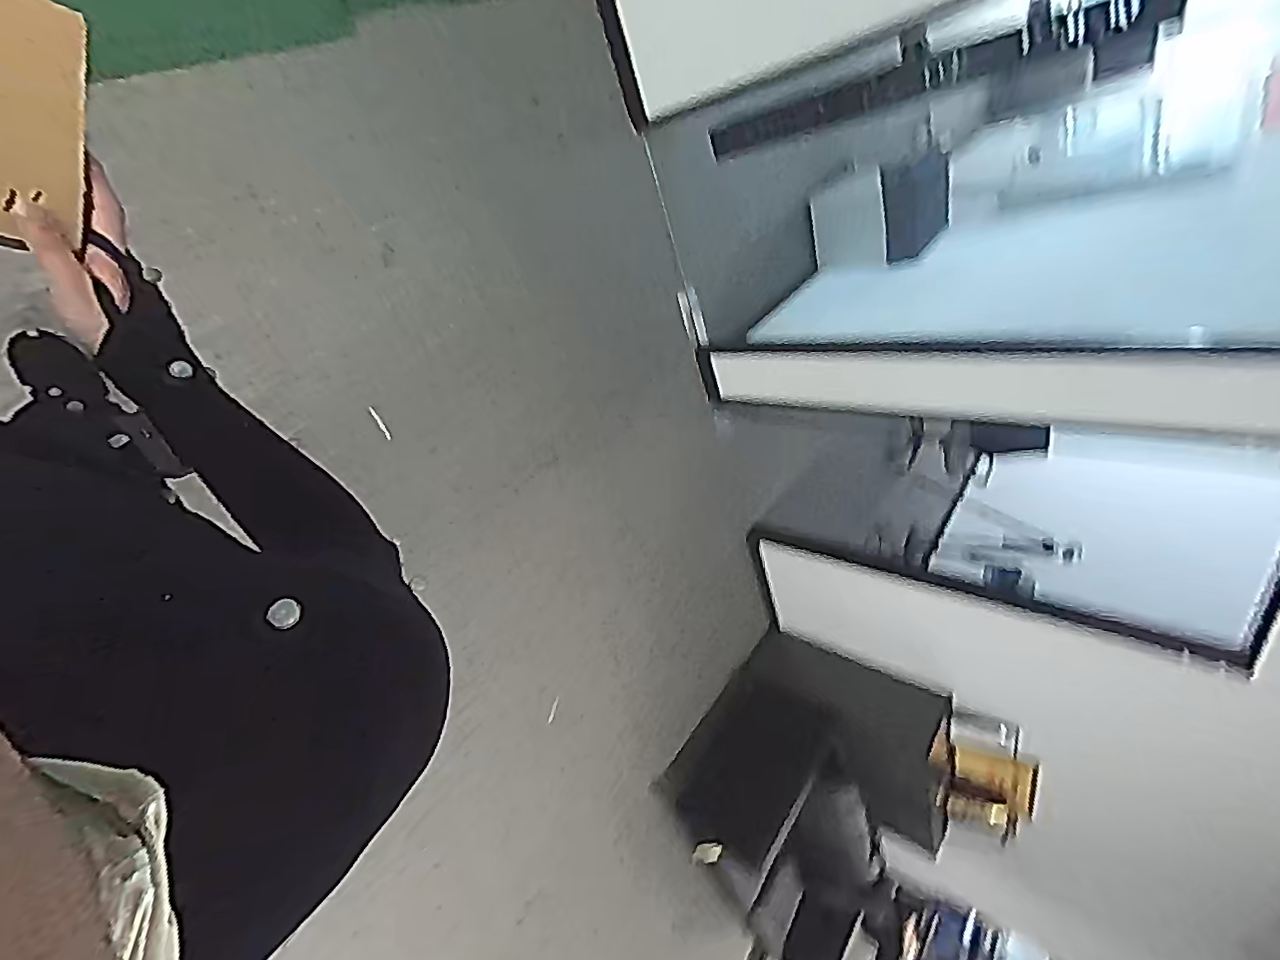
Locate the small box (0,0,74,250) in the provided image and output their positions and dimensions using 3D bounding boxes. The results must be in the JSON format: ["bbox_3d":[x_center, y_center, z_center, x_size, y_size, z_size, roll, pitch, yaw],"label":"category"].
[{"bbox_3d":[-0.552,-0.288,0.407,0.168,0.176,0.179,0,105,-48],"label":"small box"}]
